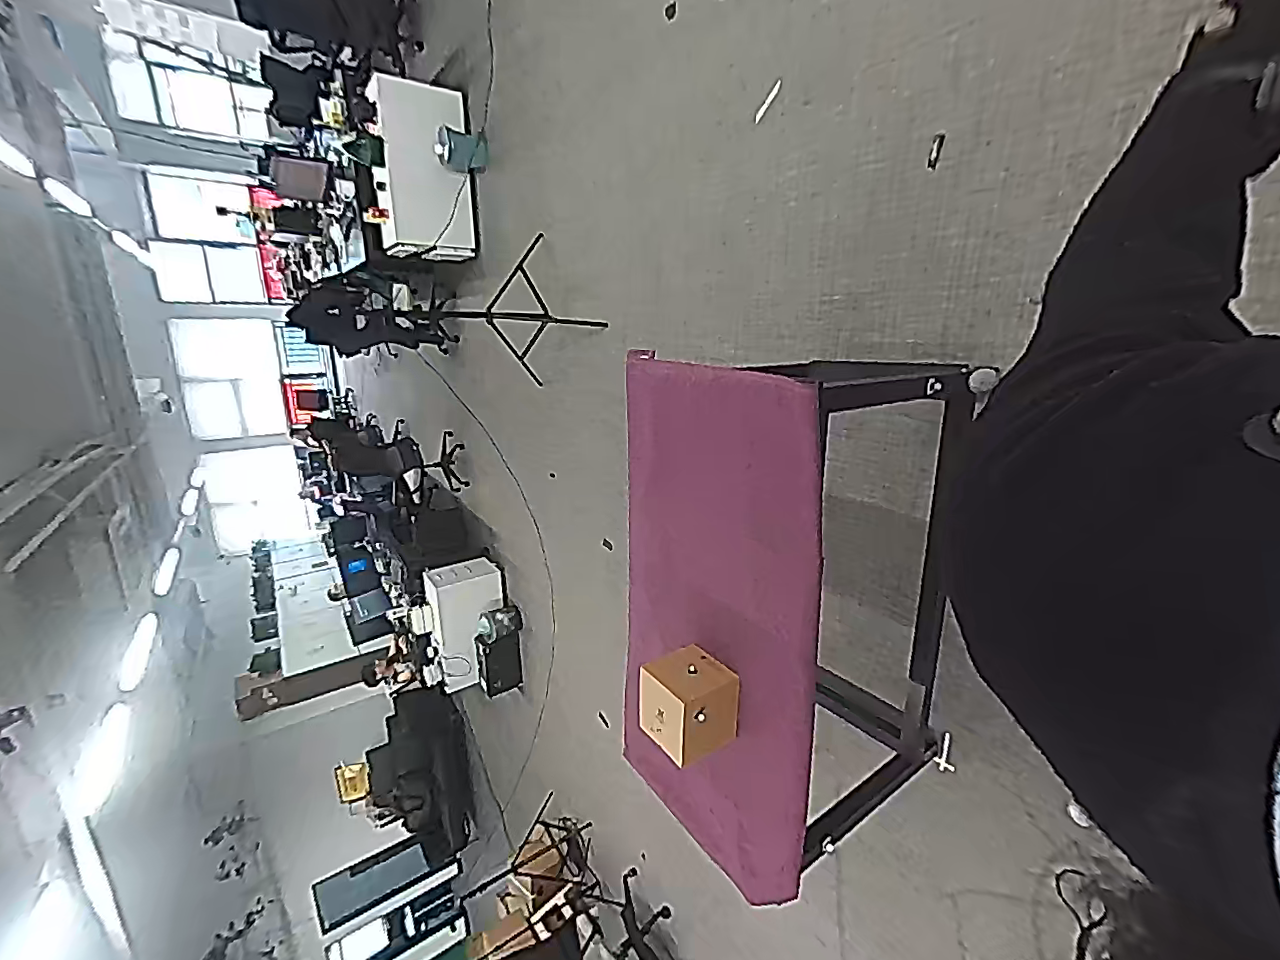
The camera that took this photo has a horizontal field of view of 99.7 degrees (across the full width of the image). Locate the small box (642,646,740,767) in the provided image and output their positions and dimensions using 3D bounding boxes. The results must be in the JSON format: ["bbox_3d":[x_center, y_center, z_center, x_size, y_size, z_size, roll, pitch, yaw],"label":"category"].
[{"bbox_3d":[0.120,0.523,1.279,0.168,0.176,0.179,23,118,53],"label":"small box"}]
